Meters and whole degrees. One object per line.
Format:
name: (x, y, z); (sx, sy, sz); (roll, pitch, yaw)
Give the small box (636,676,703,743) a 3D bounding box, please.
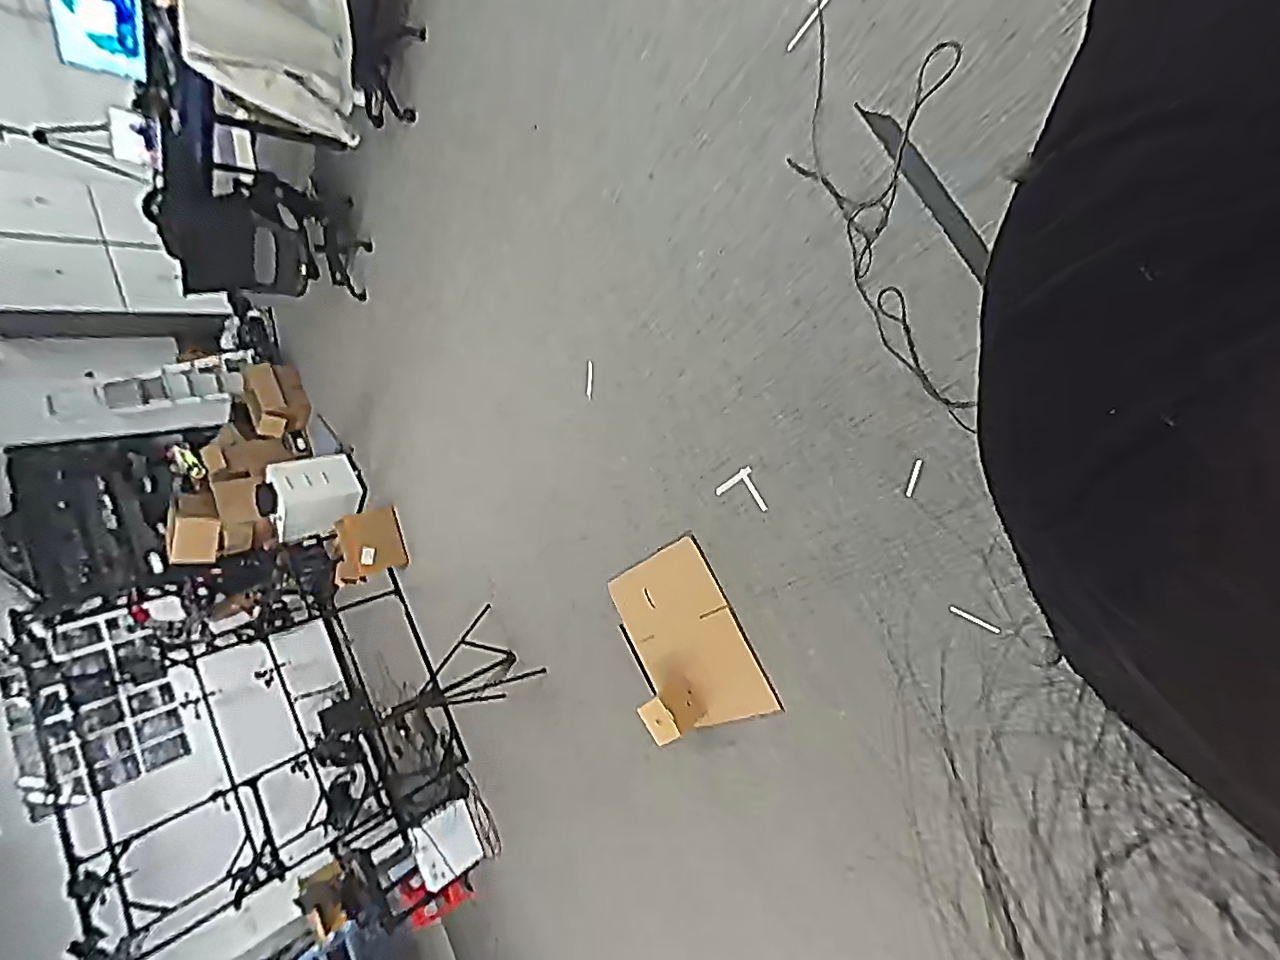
small box: (0.122, 0.919, 2.171); (0.168, 0.176, 0.179); (55, 133, 17)
